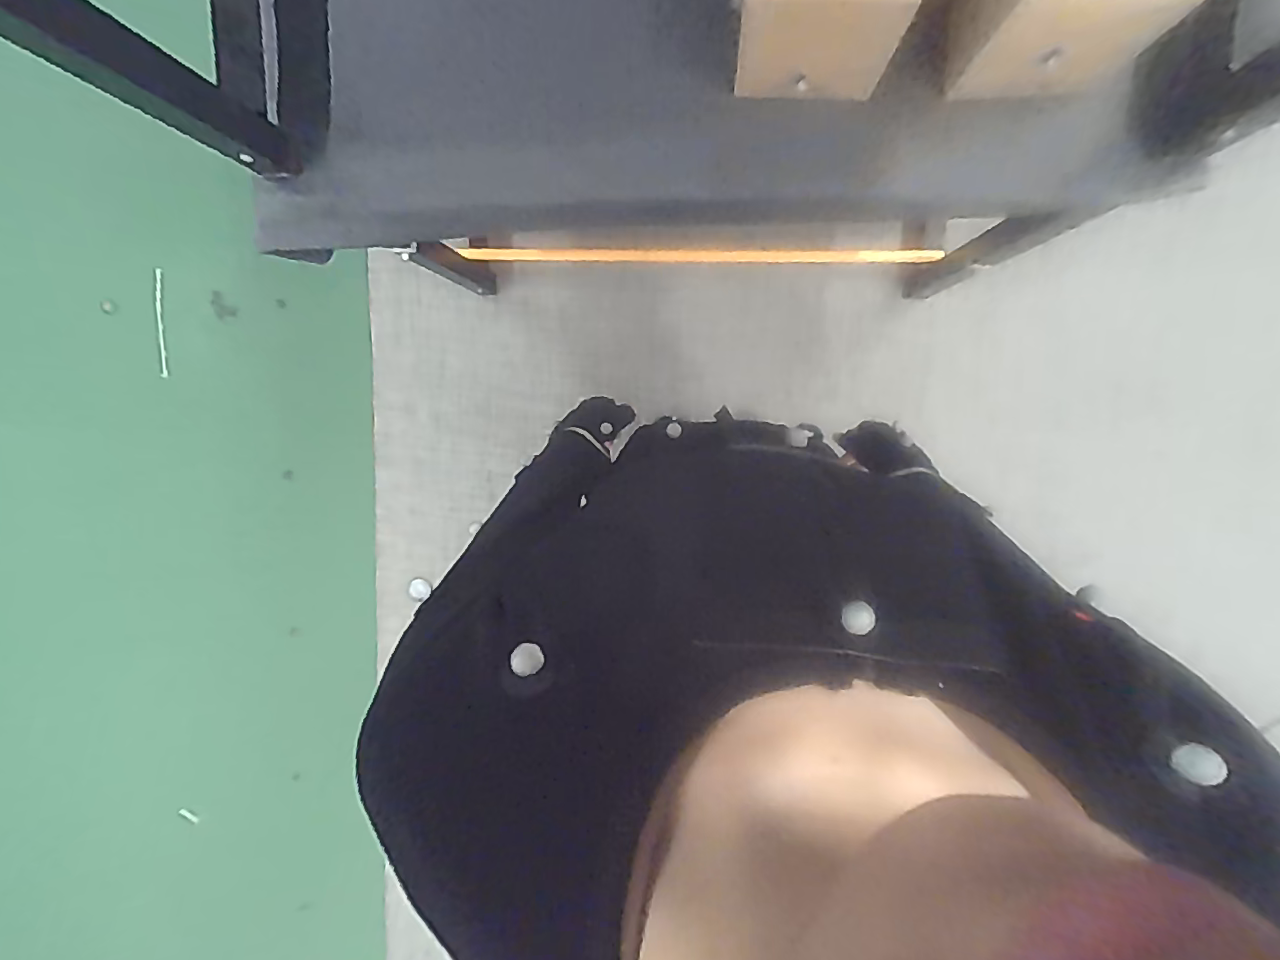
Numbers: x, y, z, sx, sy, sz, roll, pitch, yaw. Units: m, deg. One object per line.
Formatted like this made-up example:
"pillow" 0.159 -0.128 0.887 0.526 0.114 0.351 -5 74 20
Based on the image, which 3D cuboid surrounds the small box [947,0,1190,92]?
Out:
"small box" 0.441 -0.533 0.556 0.168 0.176 0.179 2 97 6
